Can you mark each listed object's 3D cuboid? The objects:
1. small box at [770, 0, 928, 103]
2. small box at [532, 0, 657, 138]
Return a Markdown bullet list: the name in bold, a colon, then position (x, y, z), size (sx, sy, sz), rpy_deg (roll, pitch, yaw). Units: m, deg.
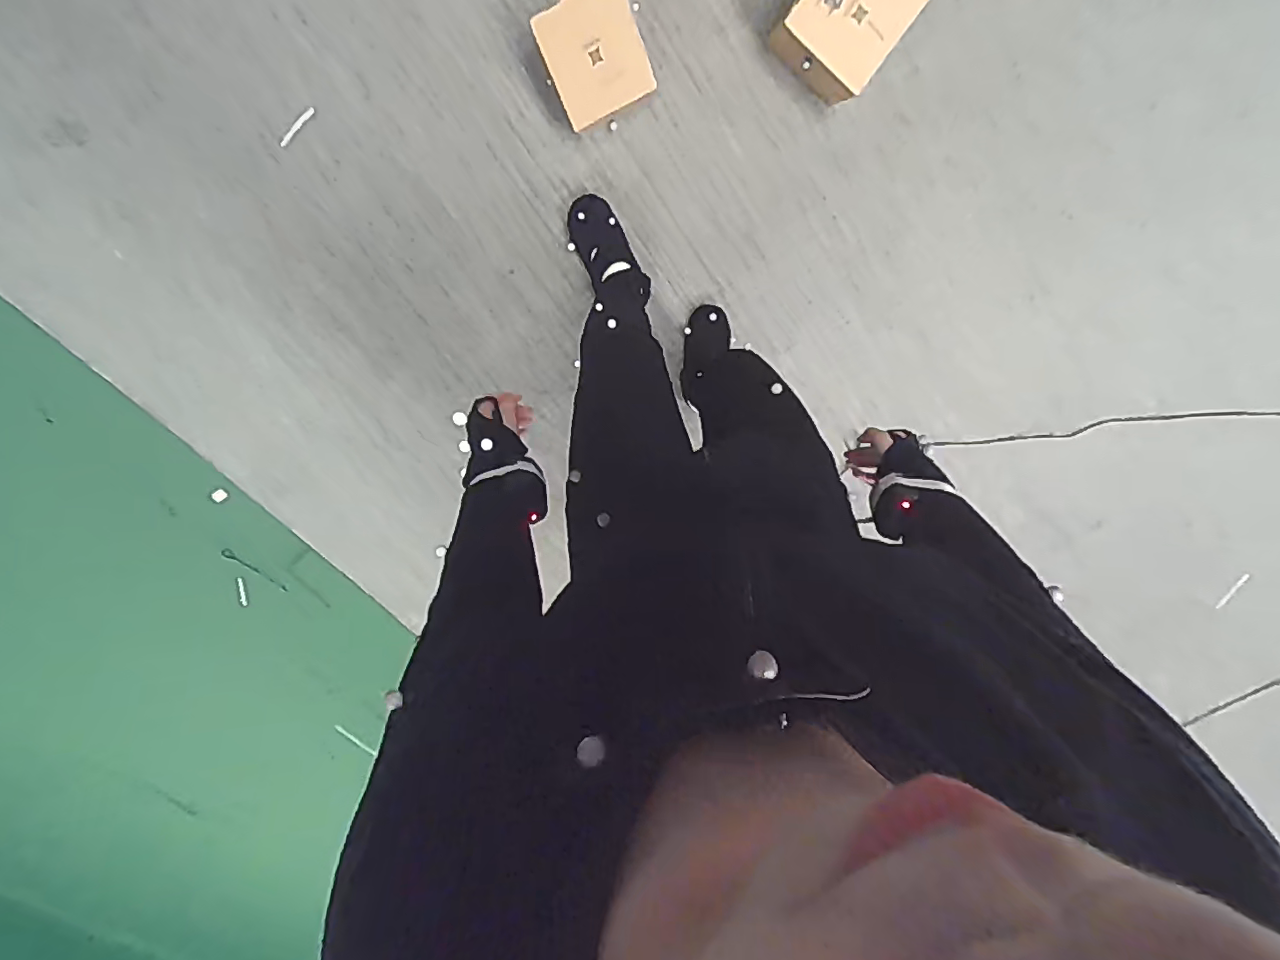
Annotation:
- **small box**: position (0.355, -0.804, 0.956), size (0.179, 0.176, 0.168), rpy_deg (32, 116, -15)
- **small box**: position (-0.075, -0.762, 0.994), size (0.168, 0.176, 0.179), rpy_deg (-20, 116, 13)
